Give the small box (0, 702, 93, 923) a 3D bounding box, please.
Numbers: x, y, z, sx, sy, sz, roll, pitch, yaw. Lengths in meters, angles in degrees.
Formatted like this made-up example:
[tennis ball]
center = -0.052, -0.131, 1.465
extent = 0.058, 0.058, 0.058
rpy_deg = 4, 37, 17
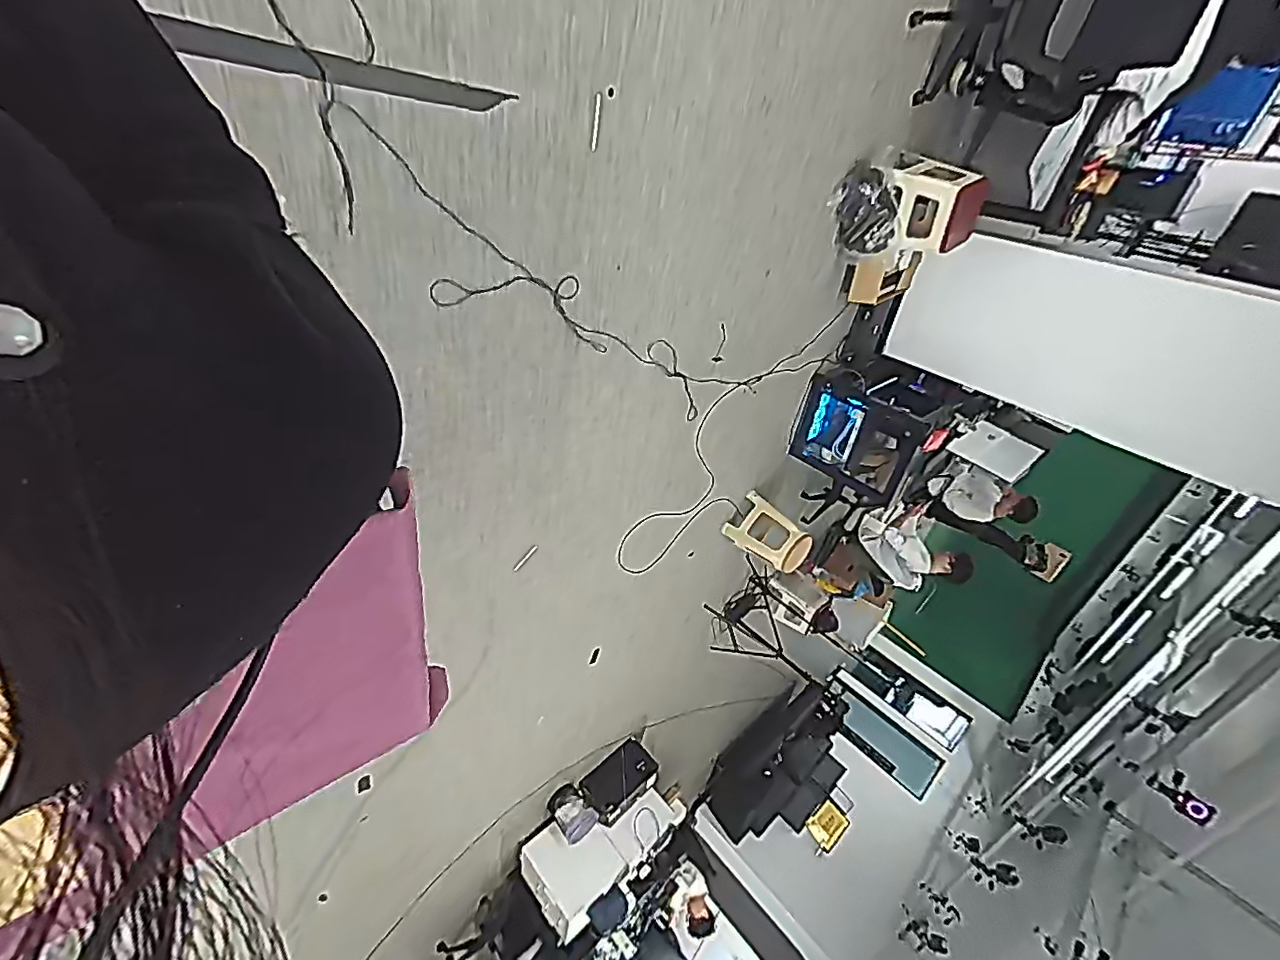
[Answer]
[small box]
center = -0.768, 0.396, 0.616
extent = 0.168, 0.176, 0.179
rpy_deg = -19, 133, -42
